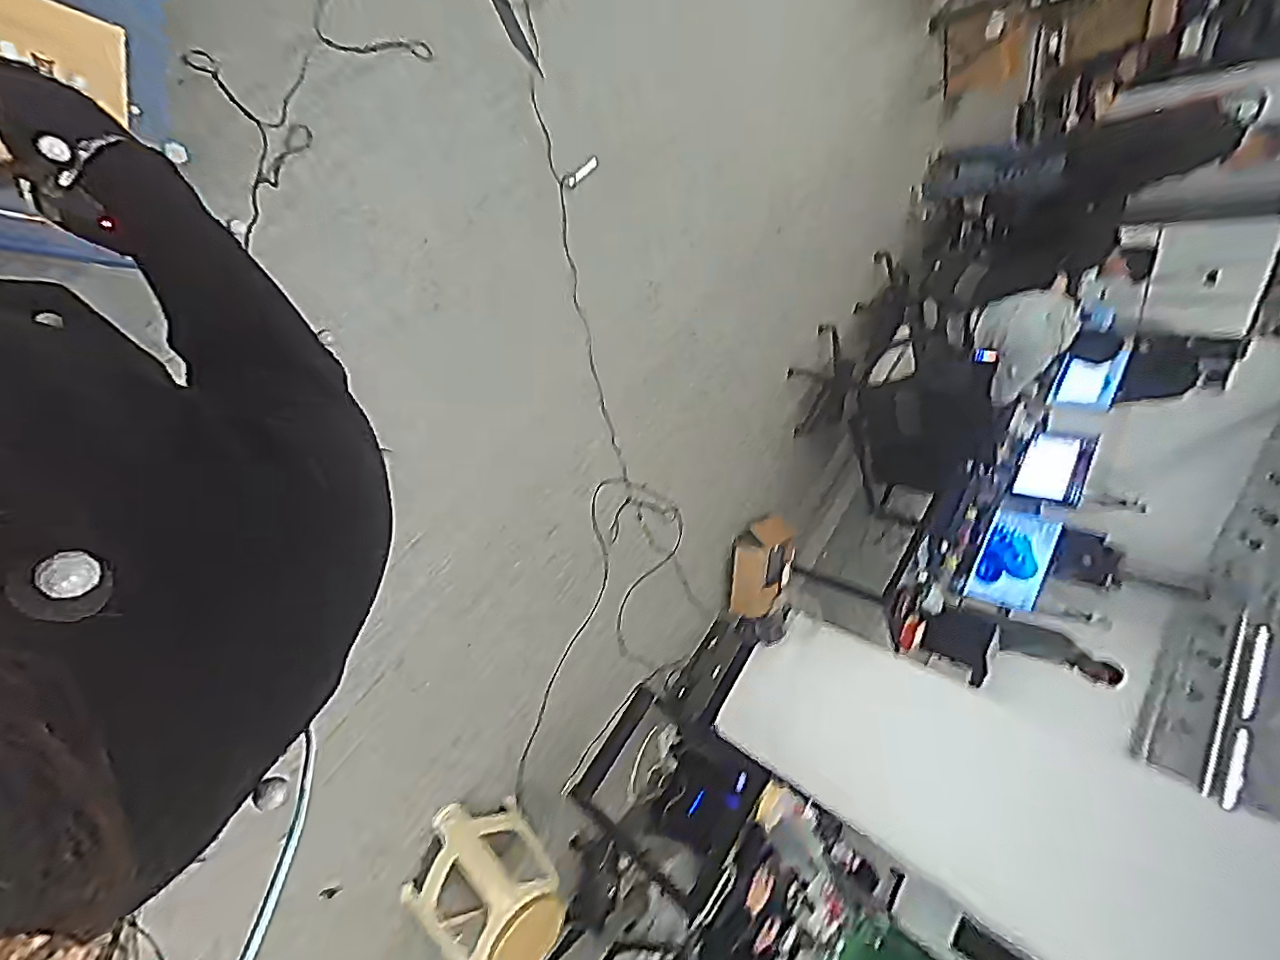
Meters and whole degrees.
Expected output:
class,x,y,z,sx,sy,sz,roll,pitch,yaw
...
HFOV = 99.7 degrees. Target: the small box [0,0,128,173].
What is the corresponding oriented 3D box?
class,x,y,z,sx,sy,sz,roll,pitch,yaw
small box,-0.862,-0.571,0.783,0.168,0.176,0.179,-4,105,-47
